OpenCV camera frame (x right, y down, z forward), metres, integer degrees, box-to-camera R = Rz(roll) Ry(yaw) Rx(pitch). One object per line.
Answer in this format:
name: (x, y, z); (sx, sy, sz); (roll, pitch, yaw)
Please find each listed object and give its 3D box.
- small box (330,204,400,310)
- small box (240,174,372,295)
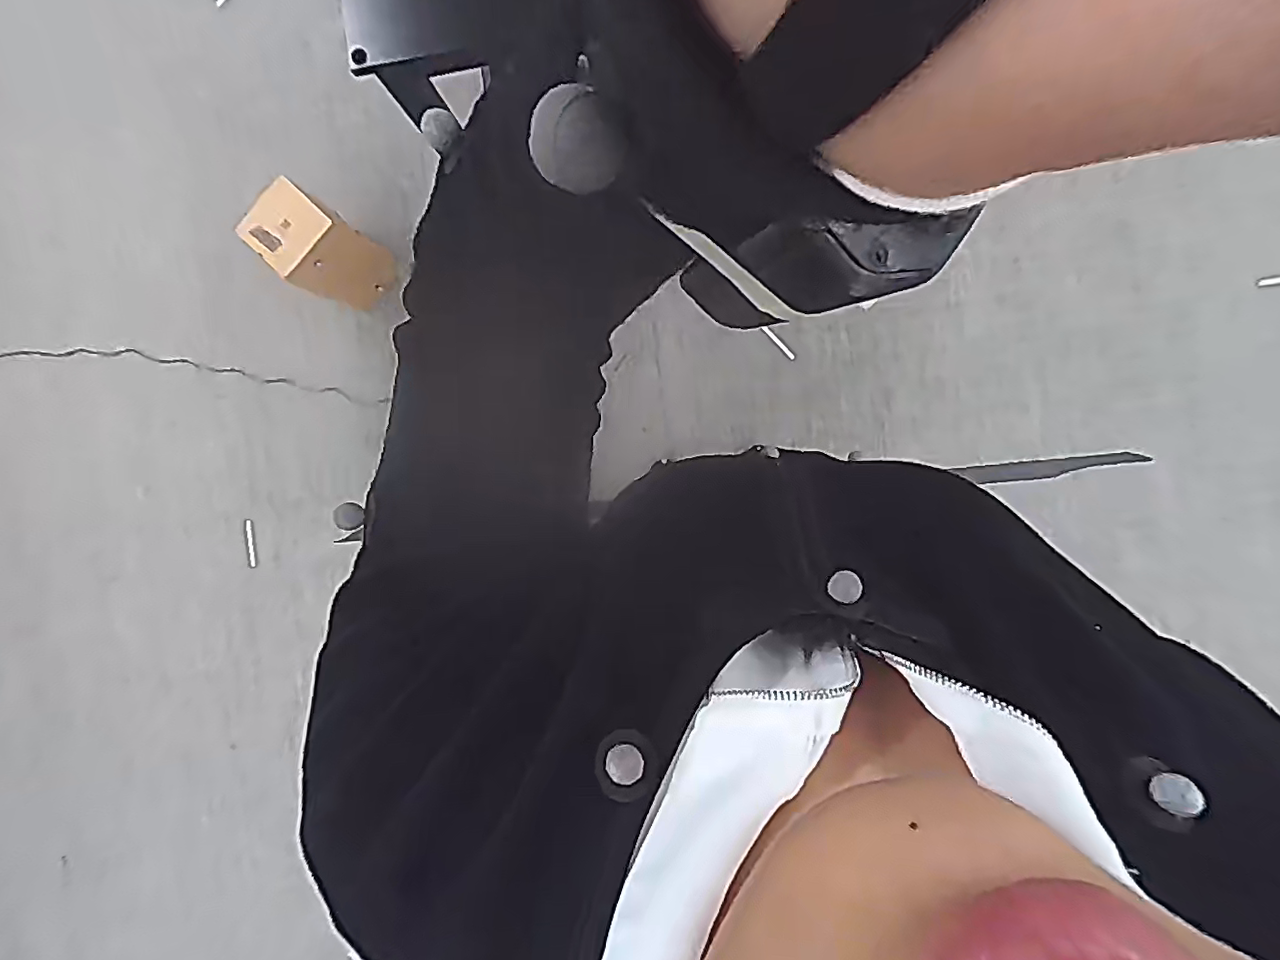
small box: (-0.791, -0.600, 1.476); (0.168, 0.176, 0.179); (42, 93, 2)
small box: (-0.797, -0.582, 1.310); (0.168, 0.176, 0.179); (44, 94, 2)
